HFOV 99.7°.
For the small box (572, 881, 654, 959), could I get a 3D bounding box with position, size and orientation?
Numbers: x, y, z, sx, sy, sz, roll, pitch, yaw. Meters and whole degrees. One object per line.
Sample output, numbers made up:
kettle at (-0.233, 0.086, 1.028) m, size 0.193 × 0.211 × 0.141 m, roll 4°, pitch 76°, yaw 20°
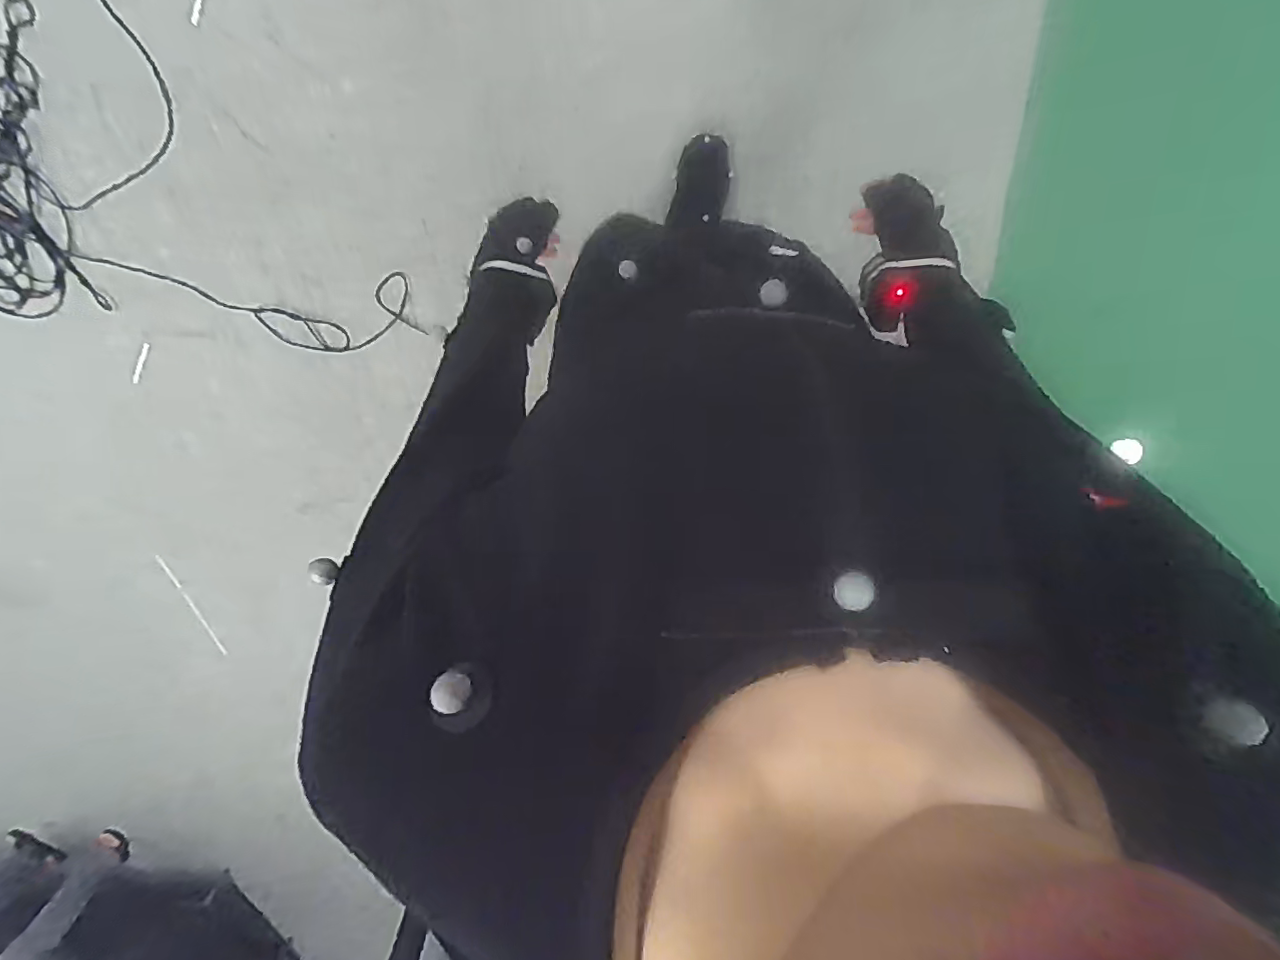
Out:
small box at (-0.056, 1.085, 1.279) m, size 0.168 × 0.176 × 0.179 m, roll -7°, pitch 120°, yaw 5°
